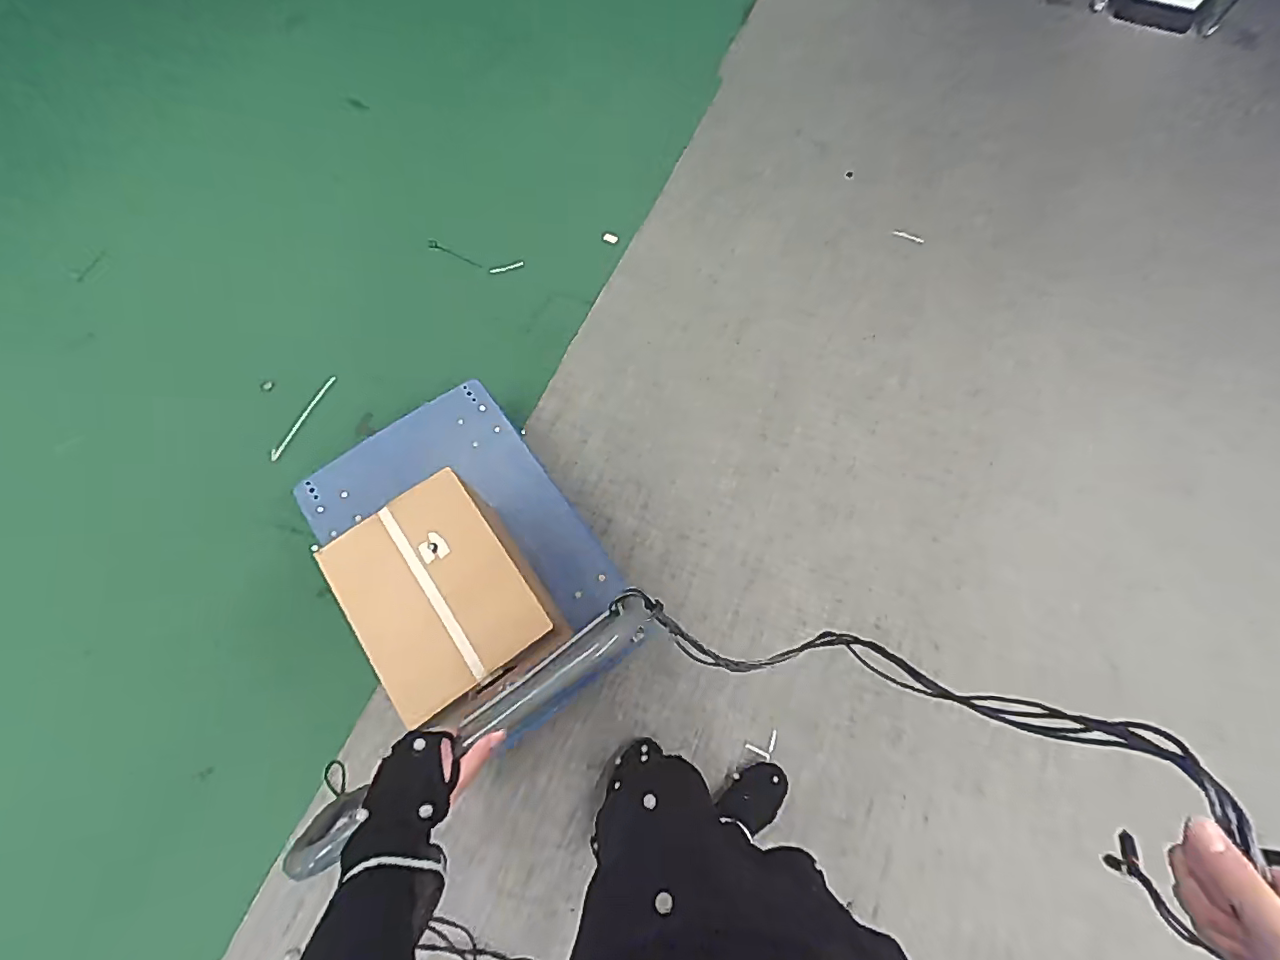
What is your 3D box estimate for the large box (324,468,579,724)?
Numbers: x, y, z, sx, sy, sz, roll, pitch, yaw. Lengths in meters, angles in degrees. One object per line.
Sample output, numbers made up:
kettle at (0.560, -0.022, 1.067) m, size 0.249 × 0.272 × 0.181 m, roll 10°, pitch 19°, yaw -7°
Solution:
large box at (-0.385, 0.256, 1.185) m, size 0.320 × 0.320 × 0.408 m, roll -35°, pitch 73°, yaw -10°
